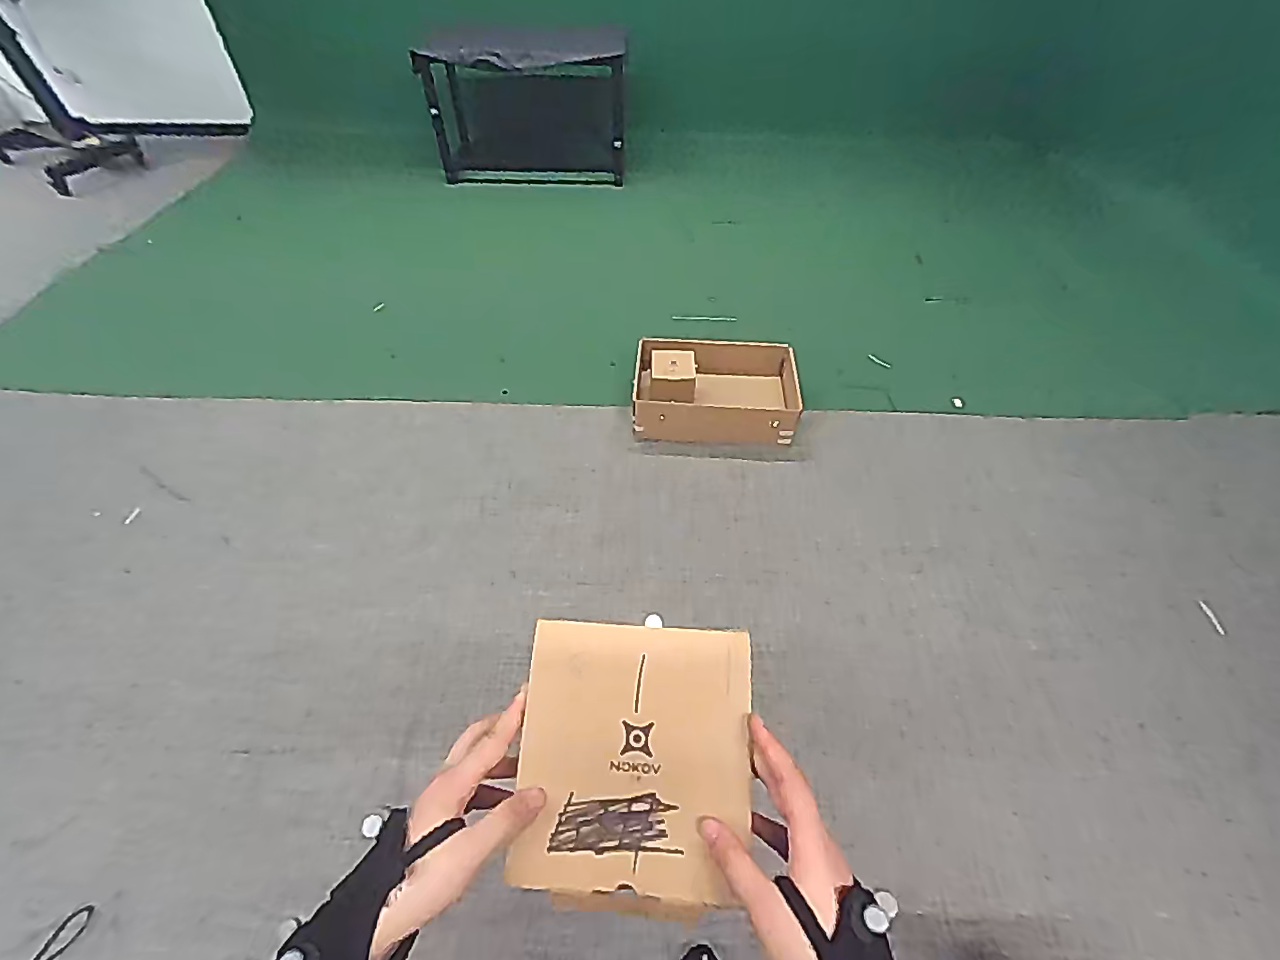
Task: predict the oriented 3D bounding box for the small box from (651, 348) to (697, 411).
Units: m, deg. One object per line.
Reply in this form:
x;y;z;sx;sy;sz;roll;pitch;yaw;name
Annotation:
0.129;-0.391;2.107;0.168;0.176;0.179;1;50;0;small box

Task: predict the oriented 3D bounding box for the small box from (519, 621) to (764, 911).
0.008;0.219;0.458;0.168;0.176;0.179;3;71;2;small box
